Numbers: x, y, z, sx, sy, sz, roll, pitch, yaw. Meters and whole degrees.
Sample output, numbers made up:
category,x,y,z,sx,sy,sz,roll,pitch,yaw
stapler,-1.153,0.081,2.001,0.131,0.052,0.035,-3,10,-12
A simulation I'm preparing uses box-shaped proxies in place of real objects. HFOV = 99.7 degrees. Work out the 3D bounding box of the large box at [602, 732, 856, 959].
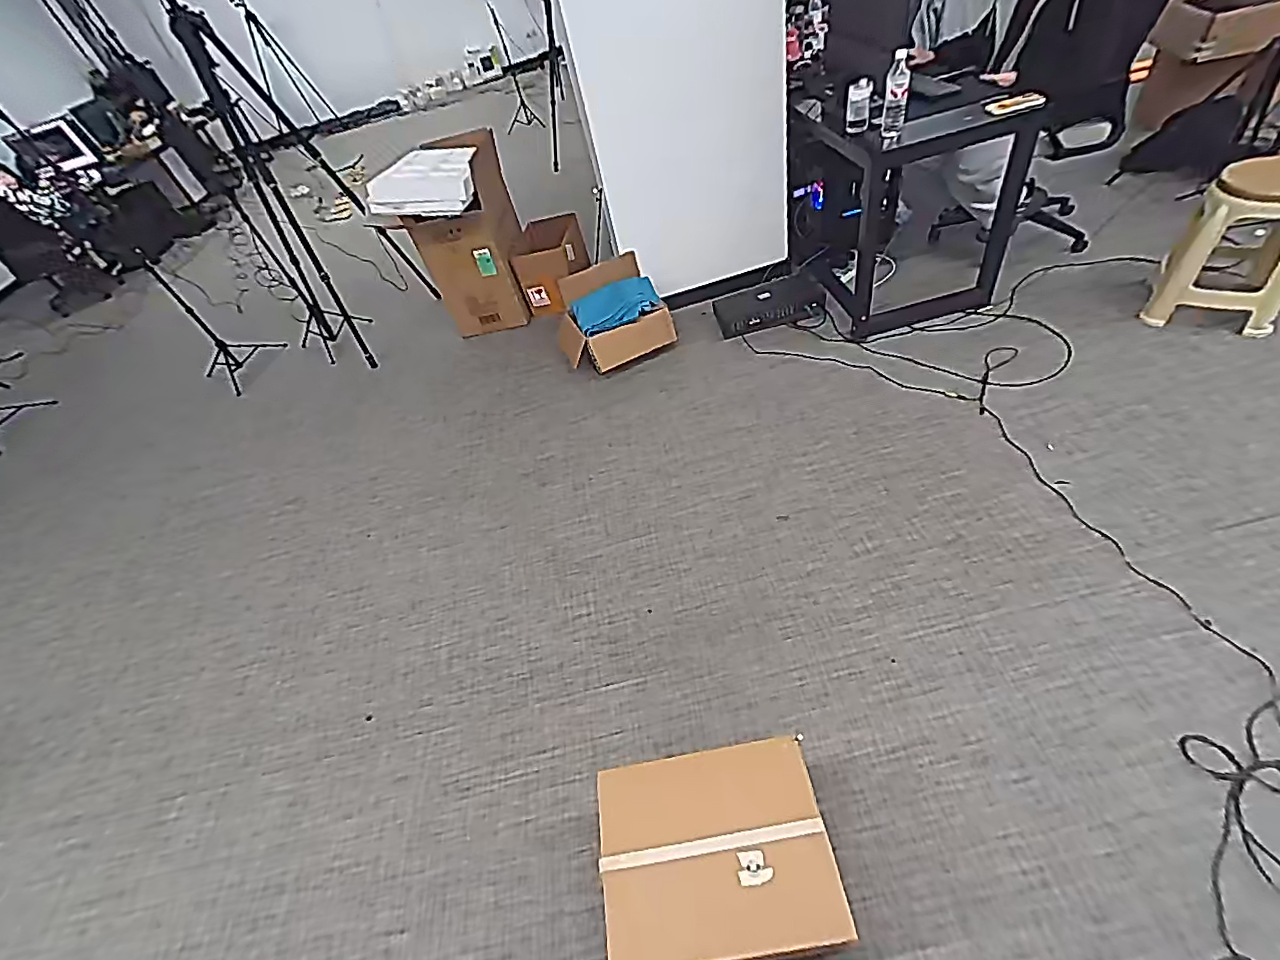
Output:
category,x,y,z,sx,sy,sz,roll,pitch,yaw
large box,0.162,0.748,1.074,0.408,0.320,0.320,-13,47,4
